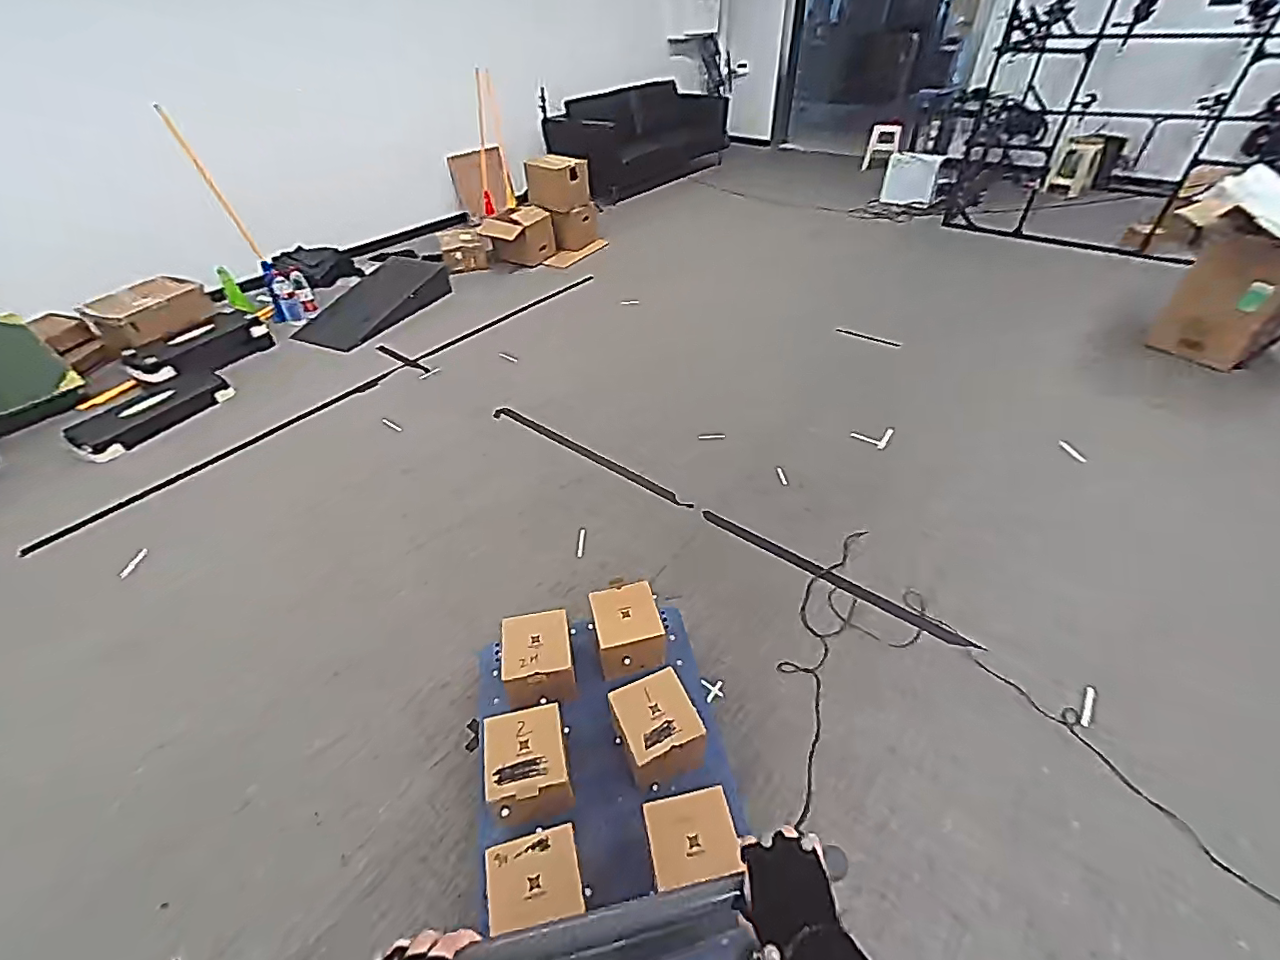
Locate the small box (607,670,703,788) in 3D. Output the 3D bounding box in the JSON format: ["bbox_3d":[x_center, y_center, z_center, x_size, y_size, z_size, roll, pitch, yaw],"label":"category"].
[{"bbox_3d":[0.034,0.583,1.253,0.168,0.176,0.179,-17,43,-17],"label":"small box"}]

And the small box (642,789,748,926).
[{"bbox_3d":[0.101,0.747,1.066,0.168,0.176,0.179,-8,41,-8],"label":"small box"}]

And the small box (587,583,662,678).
[{"bbox_3d":[-0.040,0.411,1.451,0.168,0.176,0.179,-11,42,-11],"label":"small box"}]

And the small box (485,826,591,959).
[{"bbox_3d":[-0.190,0.794,1.017,0.168,0.176,0.179,-10,43,-11],"label":"small box"}]

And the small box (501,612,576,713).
[{"bbox_3d":[-0.259,0.467,1.388,0.168,0.176,0.179,-7,43,-7],"label":"small box"}]
